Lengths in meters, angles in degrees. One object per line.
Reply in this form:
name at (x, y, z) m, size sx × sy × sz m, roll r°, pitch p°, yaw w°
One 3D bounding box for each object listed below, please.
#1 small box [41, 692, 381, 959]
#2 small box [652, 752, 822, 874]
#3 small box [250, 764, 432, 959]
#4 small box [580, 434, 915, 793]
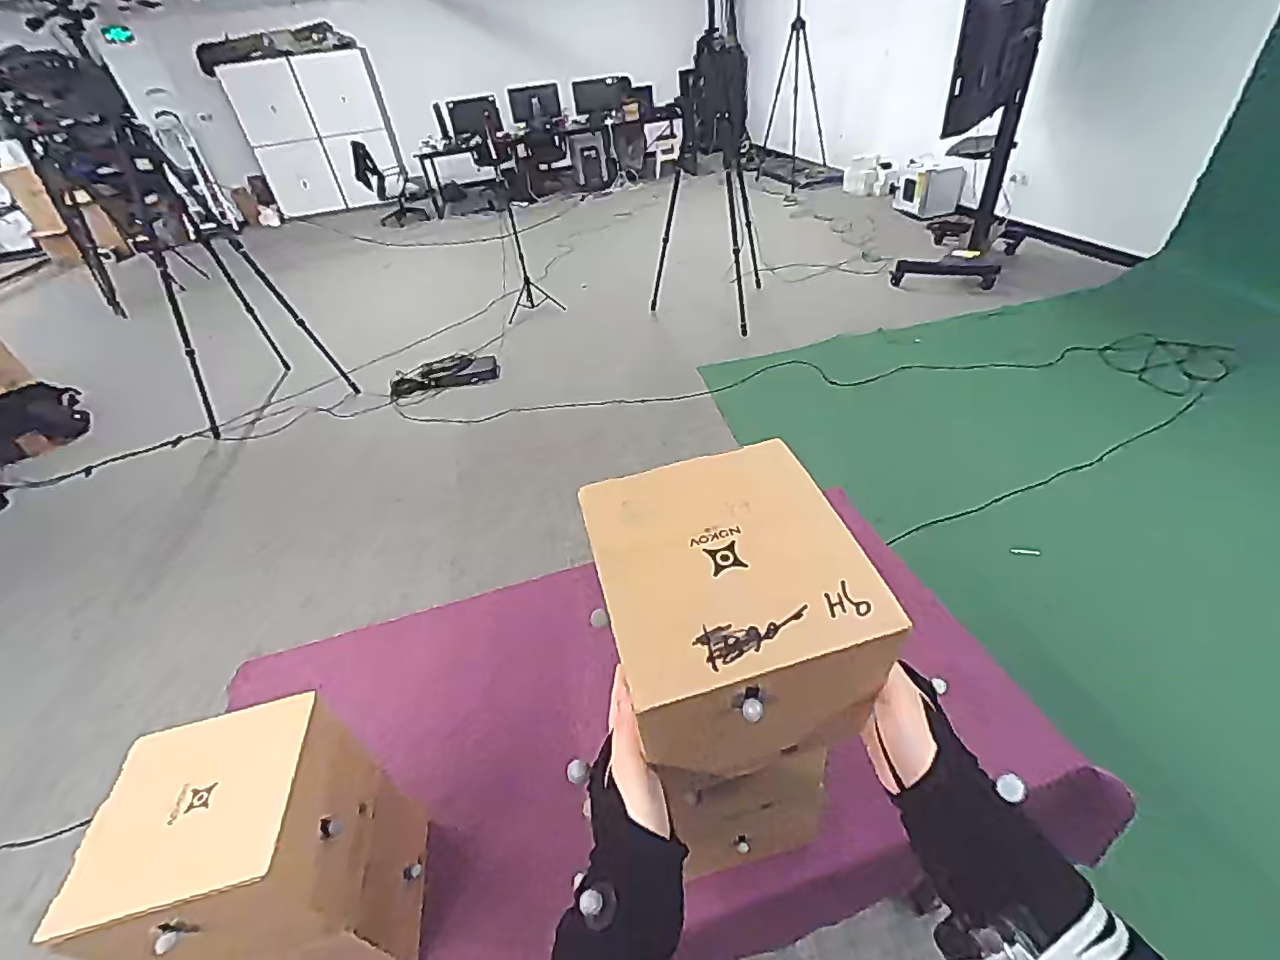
small box at (-0.380, 0.344, 0.529) m, size 0.179 × 0.176 × 0.168 m, roll -15°, pitch 39°, yaw -5°
small box at (0.105, 0.357, 0.681) m, size 0.179 × 0.176 × 0.168 m, roll -15°, pitch 39°, yaw -5°
small box at (-0.365, 0.471, 0.631) m, size 0.179 × 0.176 × 0.168 m, roll -13°, pitch 40°, yaw -6°
small box at (0.061, 0.098, 0.404) m, size 0.168 × 0.176 × 0.179 m, roll -15°, pitch 46°, yaw -6°
